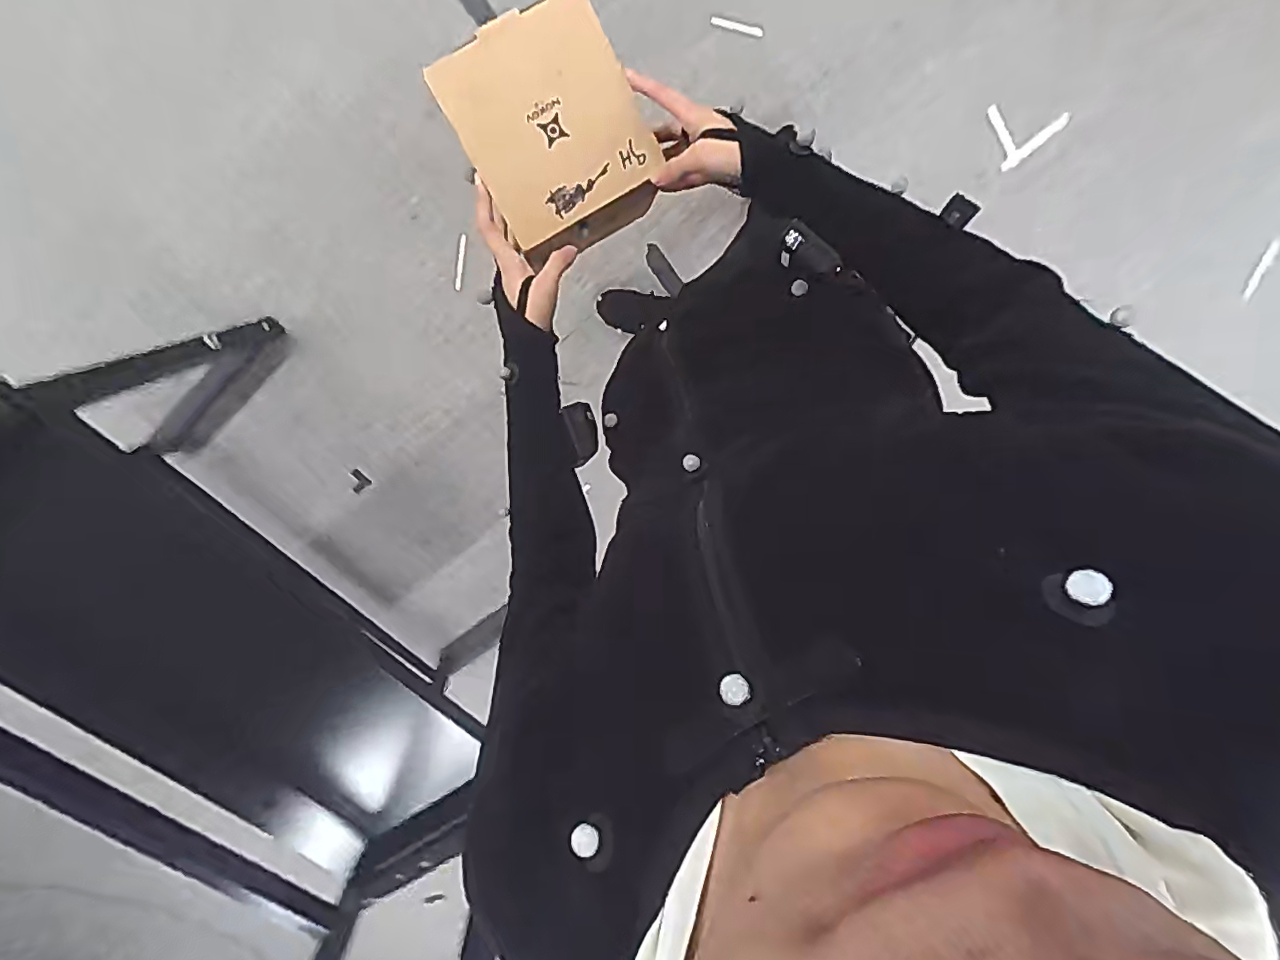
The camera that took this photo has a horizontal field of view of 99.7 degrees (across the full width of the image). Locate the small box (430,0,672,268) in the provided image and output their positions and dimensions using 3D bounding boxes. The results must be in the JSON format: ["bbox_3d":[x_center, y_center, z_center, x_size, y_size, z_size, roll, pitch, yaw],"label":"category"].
[{"bbox_3d":[-0.087,-0.353,0.574,0.168,0.176,0.179,-29,104,1],"label":"small box"}]
